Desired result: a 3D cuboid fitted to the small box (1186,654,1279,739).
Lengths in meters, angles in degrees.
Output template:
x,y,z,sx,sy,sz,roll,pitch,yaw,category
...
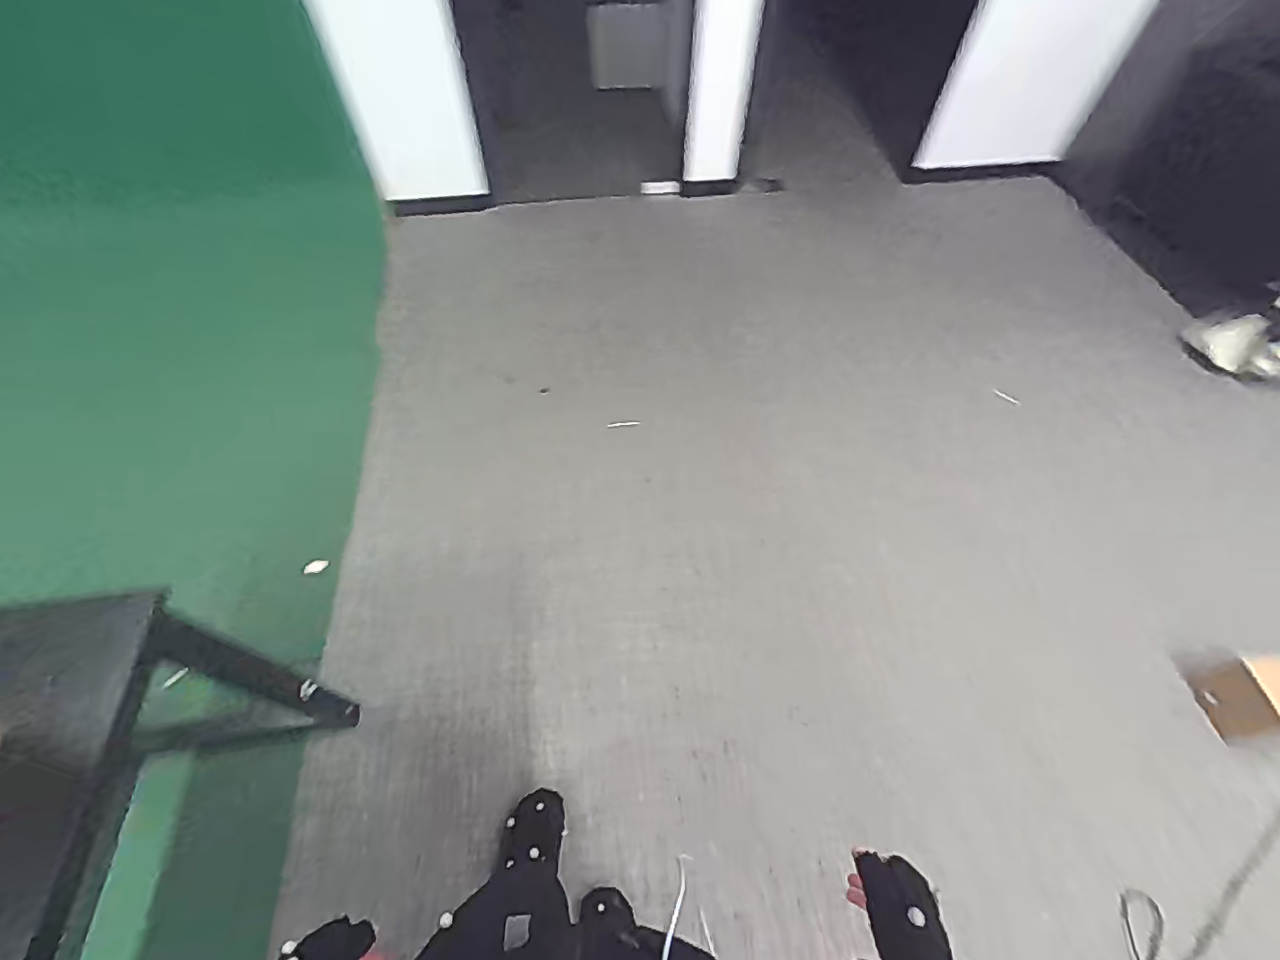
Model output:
x,y,z,sx,sy,sz,roll,pitch,yaw,category
1.526,0.531,1.322,0.179,0.176,0.168,-1,55,-2,small box
